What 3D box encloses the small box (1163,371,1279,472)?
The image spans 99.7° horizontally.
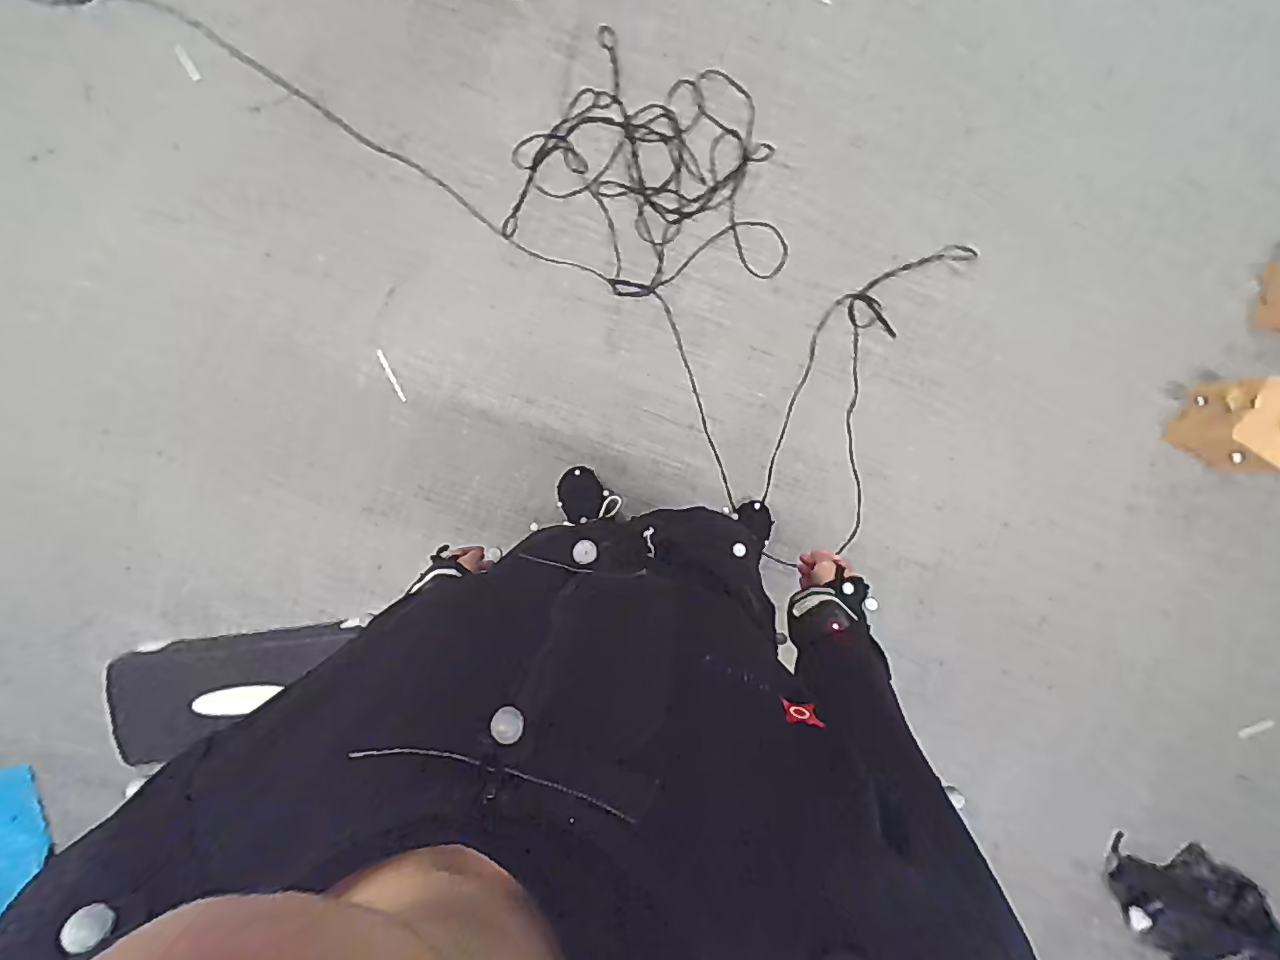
[{"bbox_3d":[1.421,-0.136,1.276,0.179,0.176,0.168,31,93,-2],"label":"small box"}]
